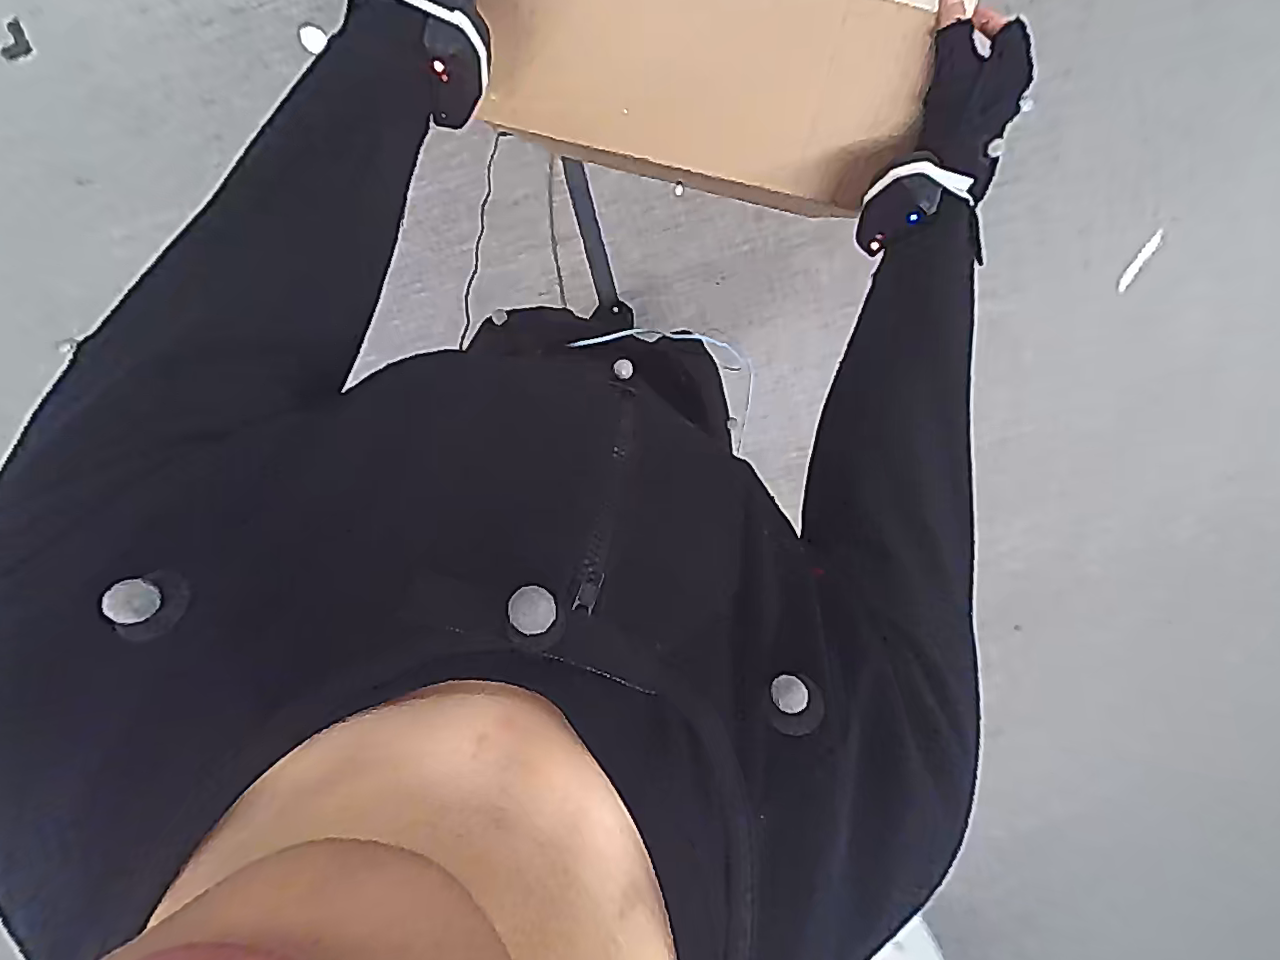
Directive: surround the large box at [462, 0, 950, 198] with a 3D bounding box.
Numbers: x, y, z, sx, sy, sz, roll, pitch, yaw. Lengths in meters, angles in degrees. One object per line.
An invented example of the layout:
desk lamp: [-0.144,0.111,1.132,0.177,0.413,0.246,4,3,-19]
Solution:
large box: [0.072,-0.501,0.562,0.408,0.320,0.320,12,116,-2]
